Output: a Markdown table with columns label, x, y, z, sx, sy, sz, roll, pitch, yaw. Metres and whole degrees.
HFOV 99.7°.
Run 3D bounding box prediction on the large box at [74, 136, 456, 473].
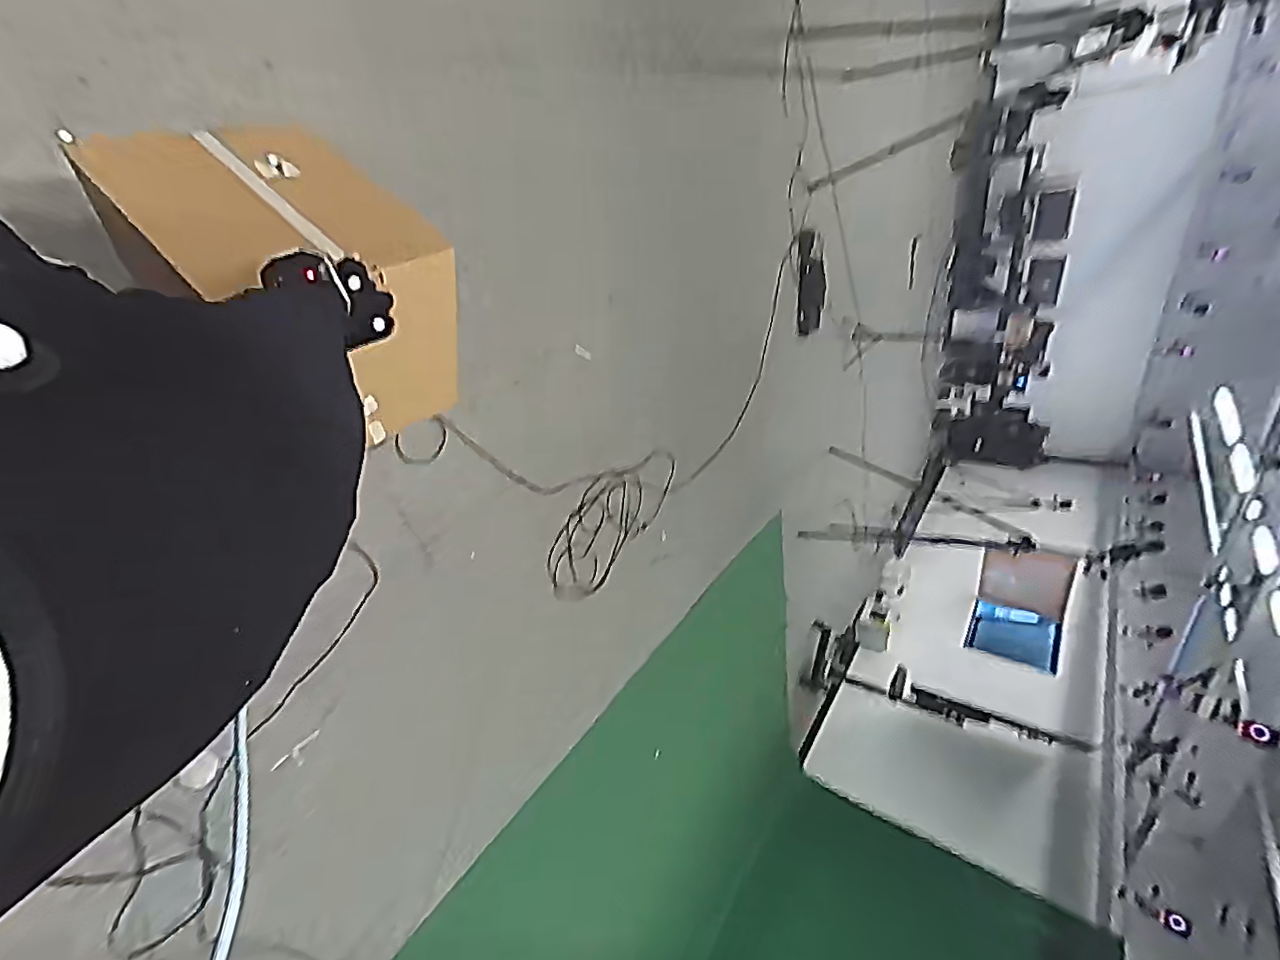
| label | x | y | z | sx | sy | sz | roll | pitch | yaw |
| --- | --- | --- | --- | --- | --- | --- | --- | --- | --- |
| large box | -0.549 | -0.288 | 0.867 | 0.320 | 0.408 | 0.320 | -36 | 158 | -38 |
